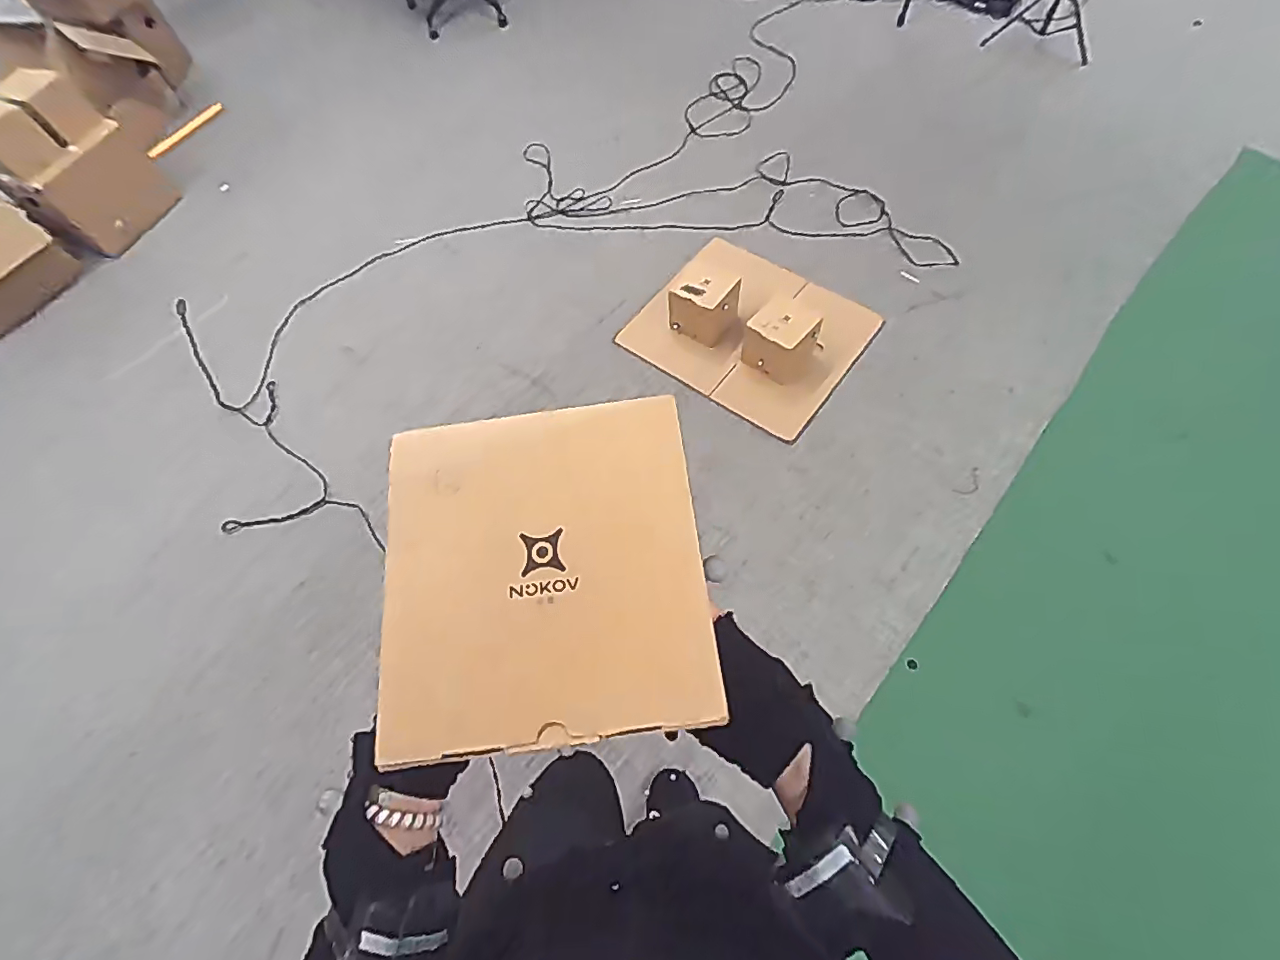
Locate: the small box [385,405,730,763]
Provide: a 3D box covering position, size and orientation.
[{"bbox_3d":[-0.045,0.074,0.358,0.168,0.176,0.179,-8,69,0],"label":"small box"}]

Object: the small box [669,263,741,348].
[{"bbox_3d":[0.212,-0.567,1.774,0.168,0.176,0.179,33,69,18],"label":"small box"}]

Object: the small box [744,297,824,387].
[{"bbox_3d":[0.440,-0.428,1.691,0.168,0.176,0.179,38,72,21],"label":"small box"}]
